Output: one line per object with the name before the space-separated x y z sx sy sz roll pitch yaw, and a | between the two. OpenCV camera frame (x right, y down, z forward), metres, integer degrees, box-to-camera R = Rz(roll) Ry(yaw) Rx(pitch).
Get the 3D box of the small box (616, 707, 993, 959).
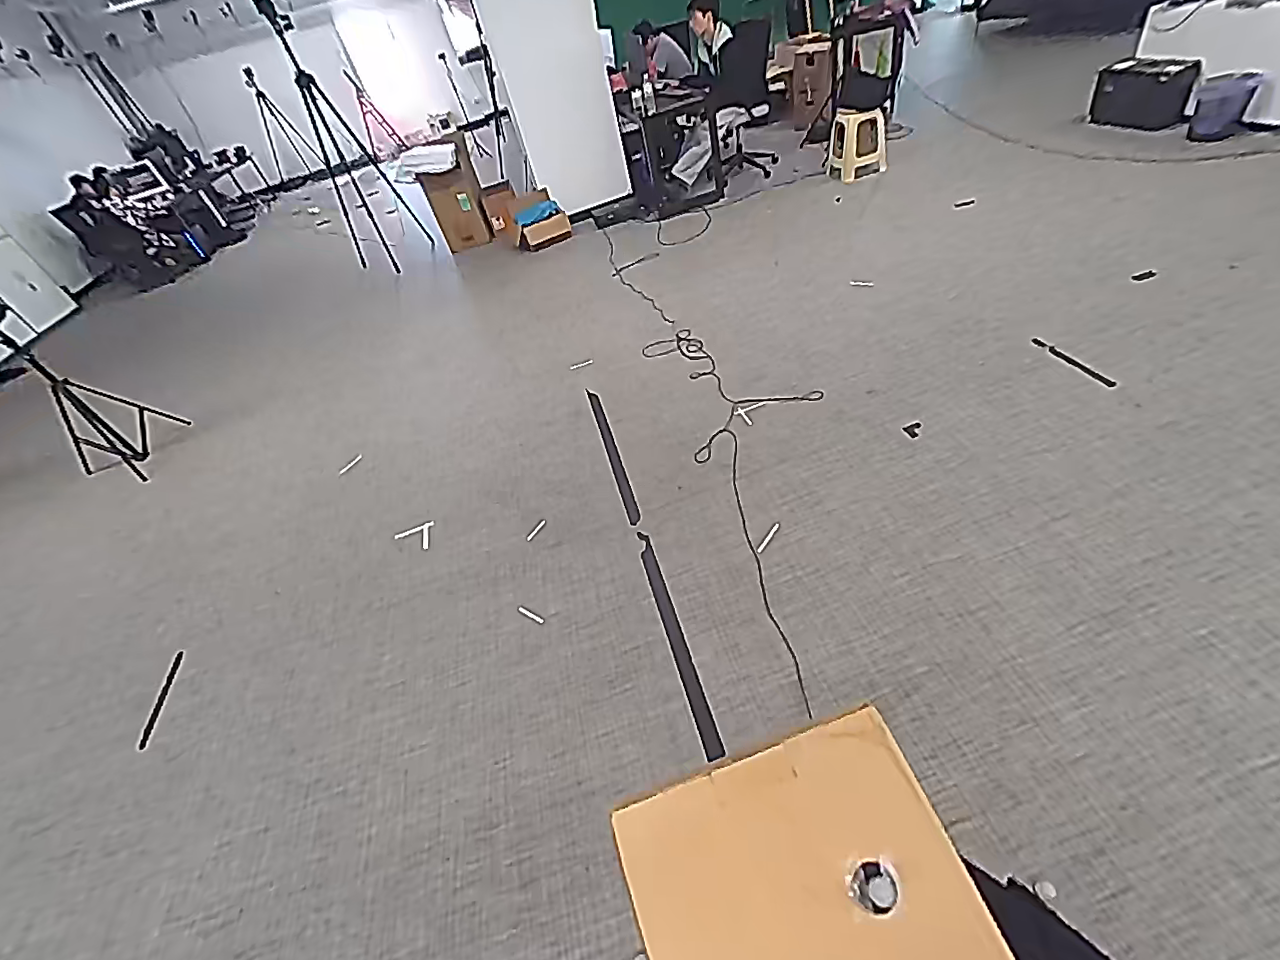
small box | 0.096 0.271 0.353 0.168 0.179 0.176 -20 62 -5
